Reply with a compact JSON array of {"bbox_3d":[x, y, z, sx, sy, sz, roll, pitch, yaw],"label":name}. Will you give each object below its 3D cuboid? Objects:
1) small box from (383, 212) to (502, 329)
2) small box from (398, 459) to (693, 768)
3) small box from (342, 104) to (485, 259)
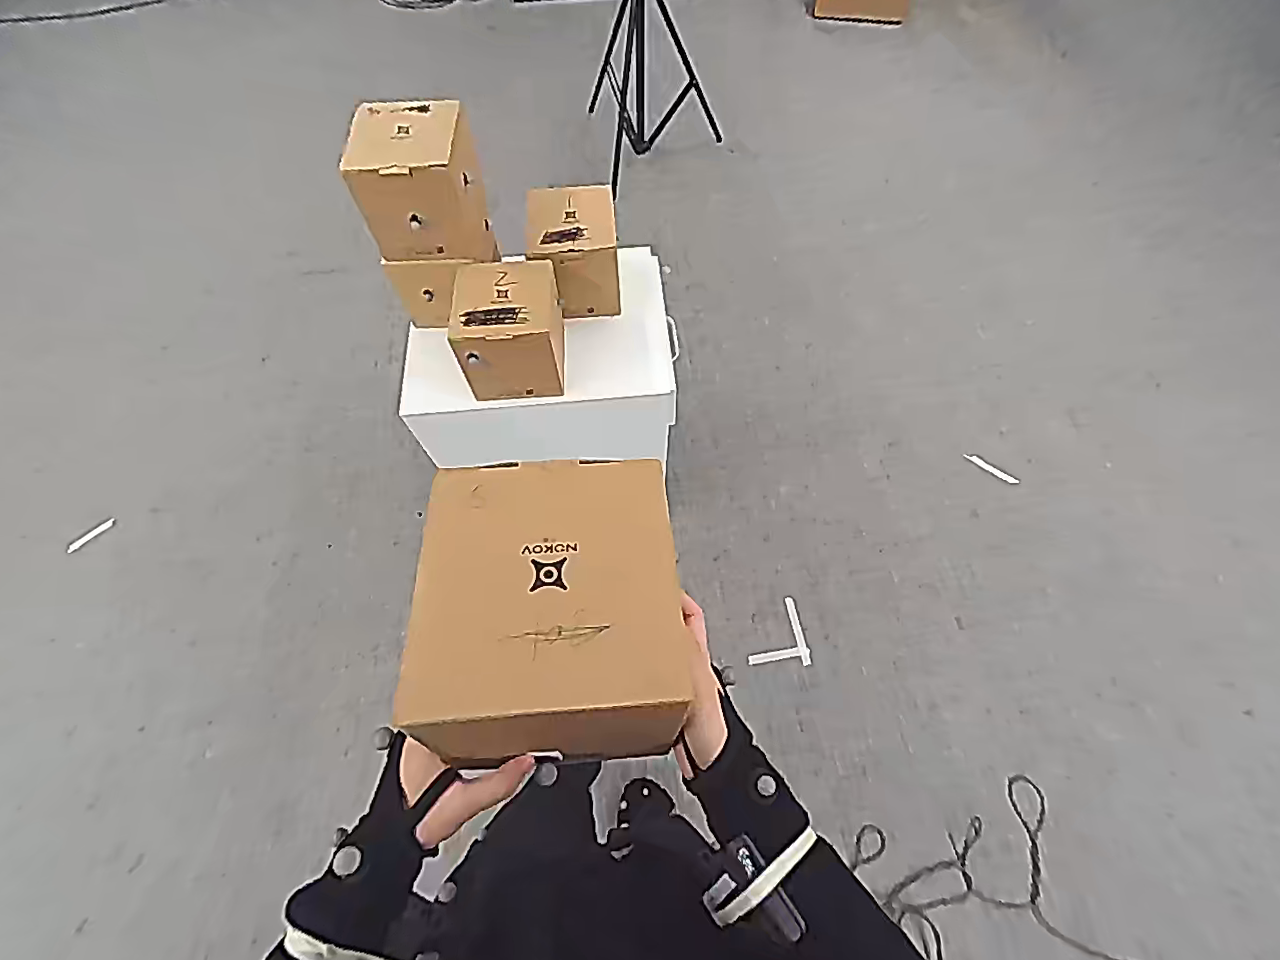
[{"bbox_3d":[-0.373,-0.412,1.055,0.168,0.176,0.179,-2,63,-1],"label":"small box"},{"bbox_3d":[-0.061,0.103,0.411,0.168,0.176,0.179,-2,54,-5],"label":"small box"},{"bbox_3d":[-0.367,-0.493,0.912,0.168,0.176,0.179,-3,64,-2],"label":"small box"}]
